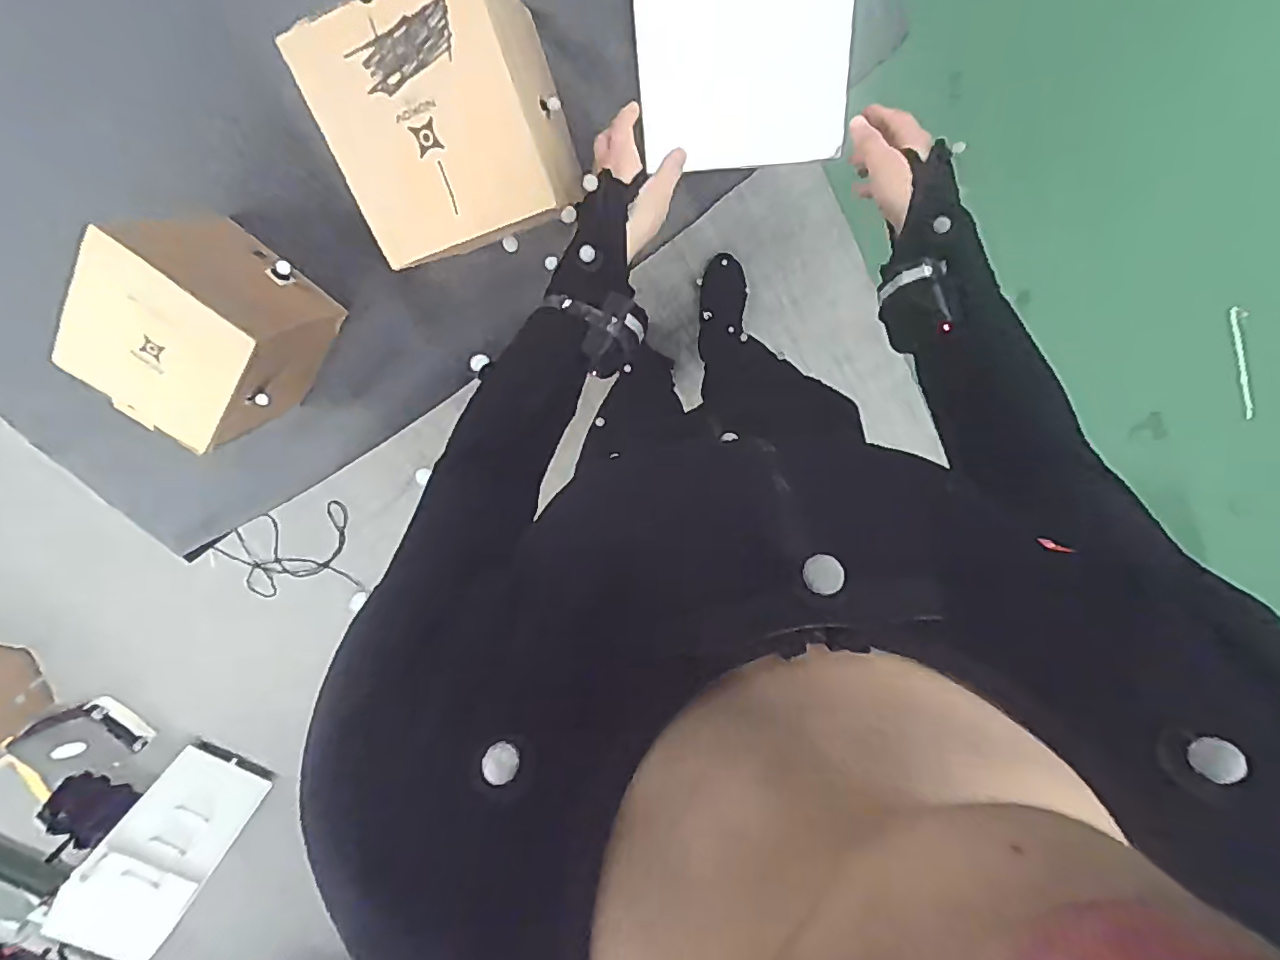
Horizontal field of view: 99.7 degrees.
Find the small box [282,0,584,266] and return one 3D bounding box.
[{"bbox_3d":[-0.167,-0.320,0.502,0.168,0.176,0.179,-14,116,14],"label":"small box"}]

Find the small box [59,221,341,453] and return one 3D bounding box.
[{"bbox_3d":[-0.486,-0.169,0.621,0.168,0.176,0.179,37,114,-15],"label":"small box"}]
